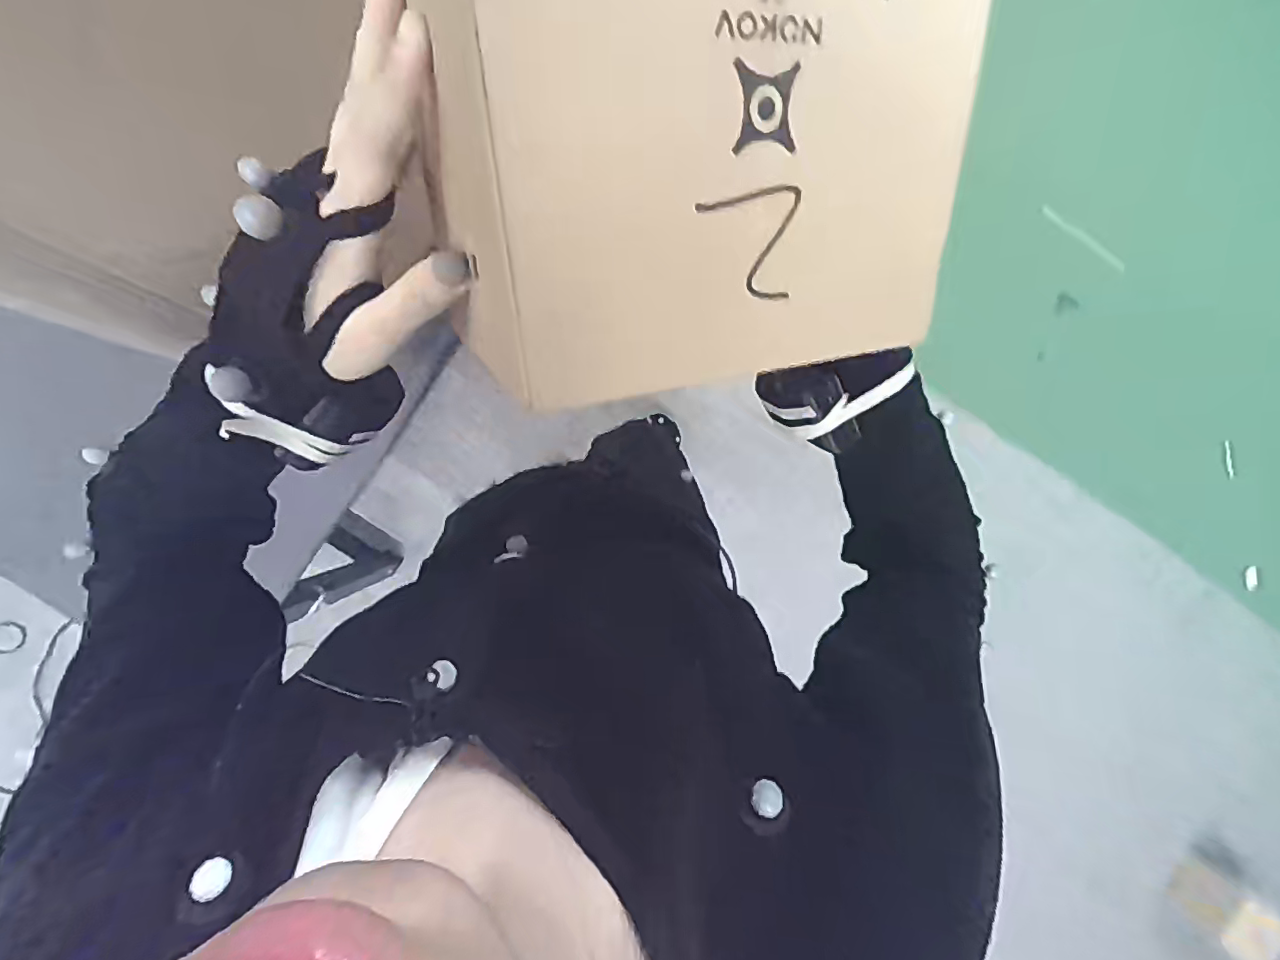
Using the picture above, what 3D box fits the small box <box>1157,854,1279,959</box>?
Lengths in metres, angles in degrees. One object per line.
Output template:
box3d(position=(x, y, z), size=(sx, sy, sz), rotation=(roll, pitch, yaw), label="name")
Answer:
box3d(position=(1.680, 1.237, 1.569), size=(0.179, 0.176, 0.168), rotation=(39, 87, -4), label="small box")
